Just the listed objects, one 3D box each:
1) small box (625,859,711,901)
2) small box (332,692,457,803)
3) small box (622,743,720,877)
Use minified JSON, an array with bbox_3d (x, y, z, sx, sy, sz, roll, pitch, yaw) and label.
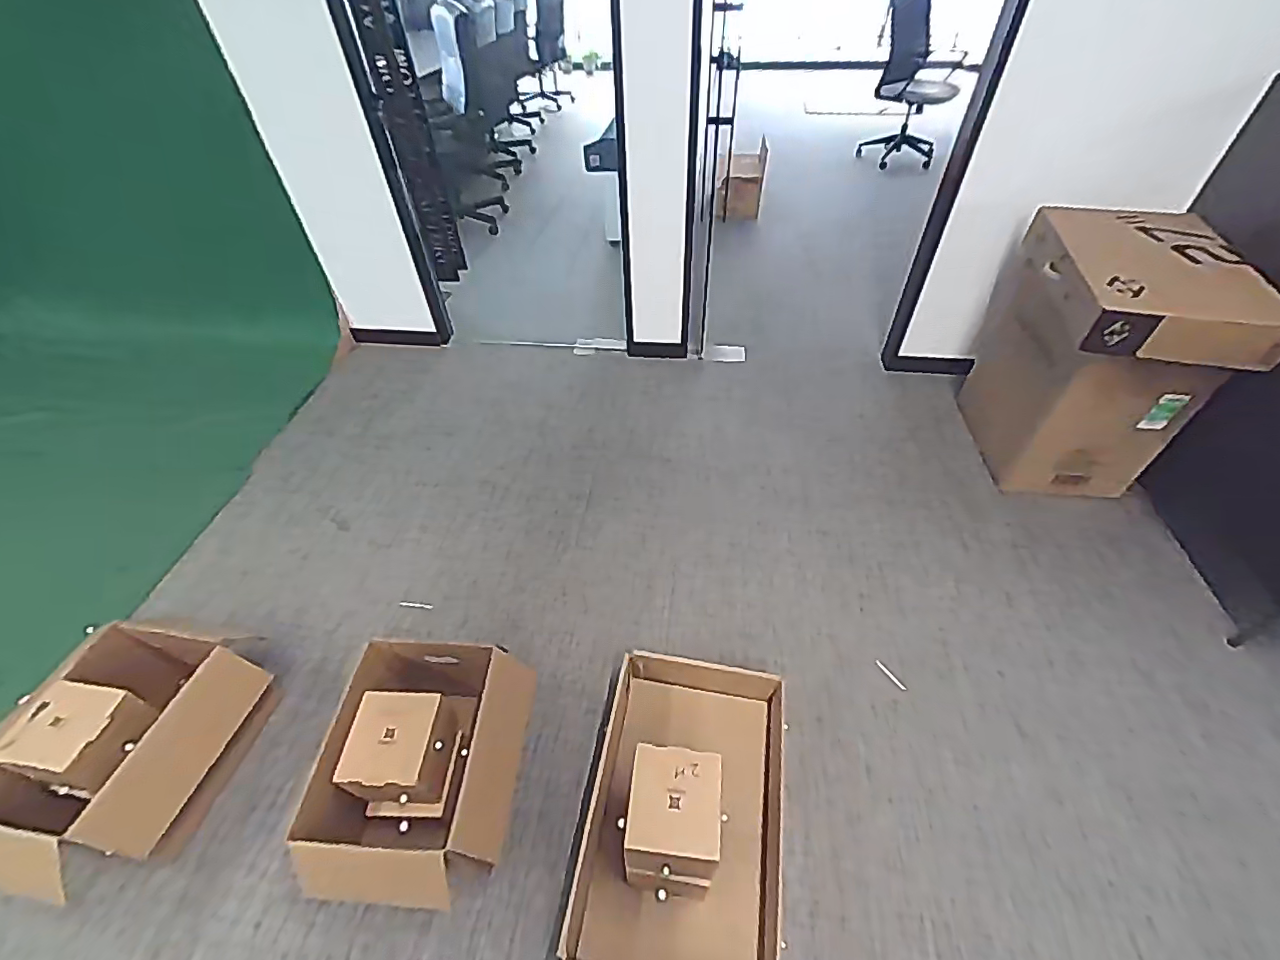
[{"bbox_3d":[0.064,0.752,1.138,0.168,0.176,0.179,7,45,7],"label":"small box"},{"bbox_3d":[-0.503,0.568,1.141,0.168,0.176,0.179,1,48,2],"label":"small box"},{"bbox_3d":[0.061,0.629,1.027,0.168,0.176,0.179,5,45,5],"label":"small box"}]
